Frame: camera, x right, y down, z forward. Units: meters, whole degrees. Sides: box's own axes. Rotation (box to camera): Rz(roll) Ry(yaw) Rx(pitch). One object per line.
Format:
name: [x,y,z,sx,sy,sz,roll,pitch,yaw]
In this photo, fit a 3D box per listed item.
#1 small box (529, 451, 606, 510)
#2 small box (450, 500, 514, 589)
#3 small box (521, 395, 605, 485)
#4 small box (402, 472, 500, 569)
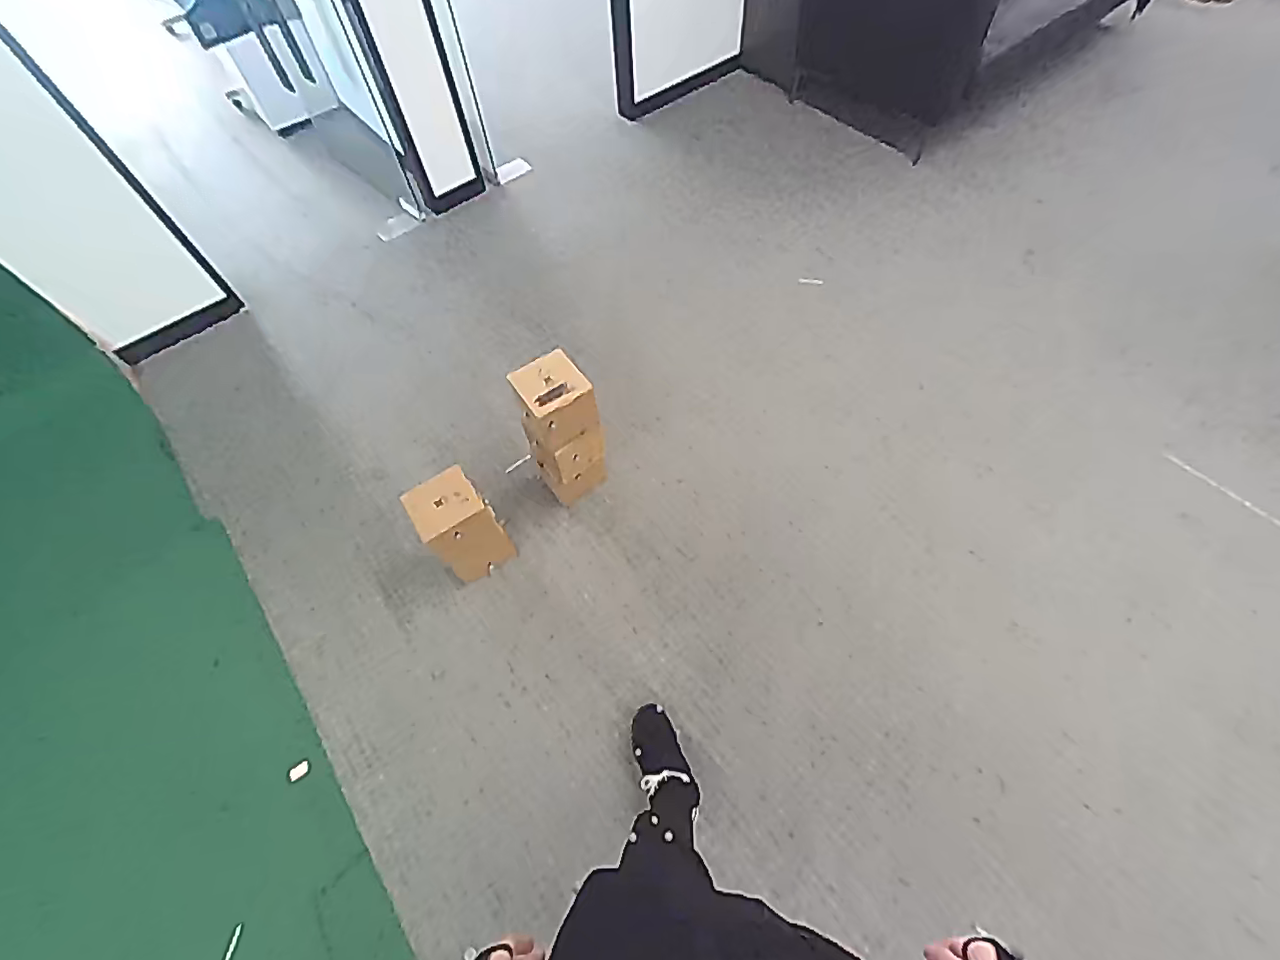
small box: [-0.228,-0.035,1.742,0.179,0.176,0.168,-34,64,-17]
small box: [-0.496,0.196,1.621,0.179,0.176,0.168,-33,63,-16]
small box: [-0.221,-0.109,1.598,0.168,0.176,0.179,-38,64,-18]
small box: [-0.510,0.116,1.478,0.179,0.176,0.168,-32,63,-15]
